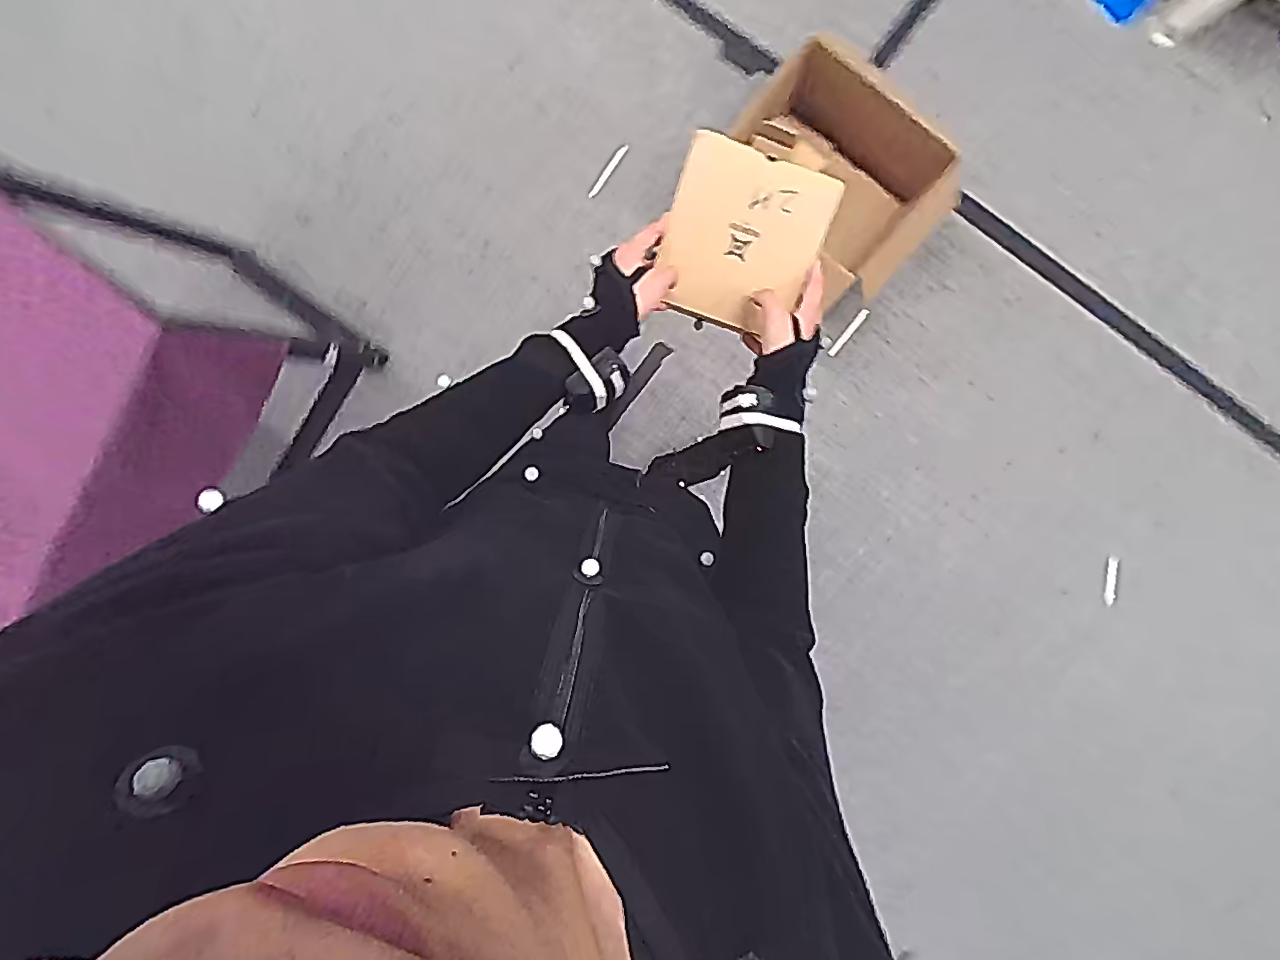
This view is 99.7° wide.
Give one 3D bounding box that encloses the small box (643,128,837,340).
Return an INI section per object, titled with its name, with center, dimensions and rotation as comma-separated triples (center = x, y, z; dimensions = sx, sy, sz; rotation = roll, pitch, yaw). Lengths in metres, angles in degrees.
[small box]
center = 0.109, -0.285, 0.666
dimensions = 0.168, 0.176, 0.179
rotation = 18, 106, -5
